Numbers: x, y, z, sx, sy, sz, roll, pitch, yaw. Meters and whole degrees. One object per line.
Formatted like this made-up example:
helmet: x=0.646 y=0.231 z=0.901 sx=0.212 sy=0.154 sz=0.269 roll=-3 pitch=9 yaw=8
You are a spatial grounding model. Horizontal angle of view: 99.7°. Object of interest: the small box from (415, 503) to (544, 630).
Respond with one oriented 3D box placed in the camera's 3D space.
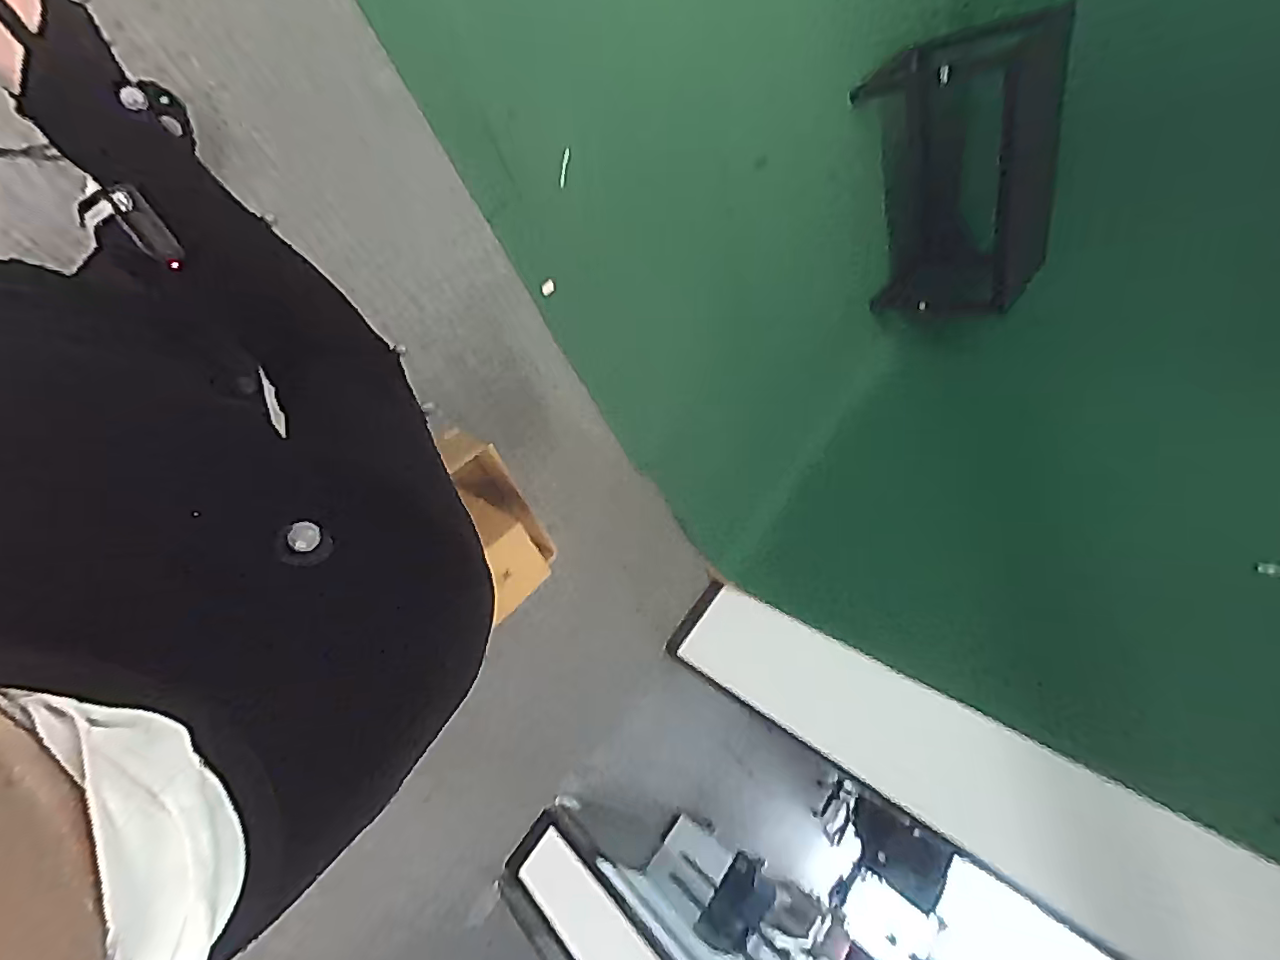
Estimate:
small box: x=-0.344 y=0.177 z=1.160 sx=0.179 sy=0.176 sz=0.168 roll=-41 pitch=130 yaw=-23
